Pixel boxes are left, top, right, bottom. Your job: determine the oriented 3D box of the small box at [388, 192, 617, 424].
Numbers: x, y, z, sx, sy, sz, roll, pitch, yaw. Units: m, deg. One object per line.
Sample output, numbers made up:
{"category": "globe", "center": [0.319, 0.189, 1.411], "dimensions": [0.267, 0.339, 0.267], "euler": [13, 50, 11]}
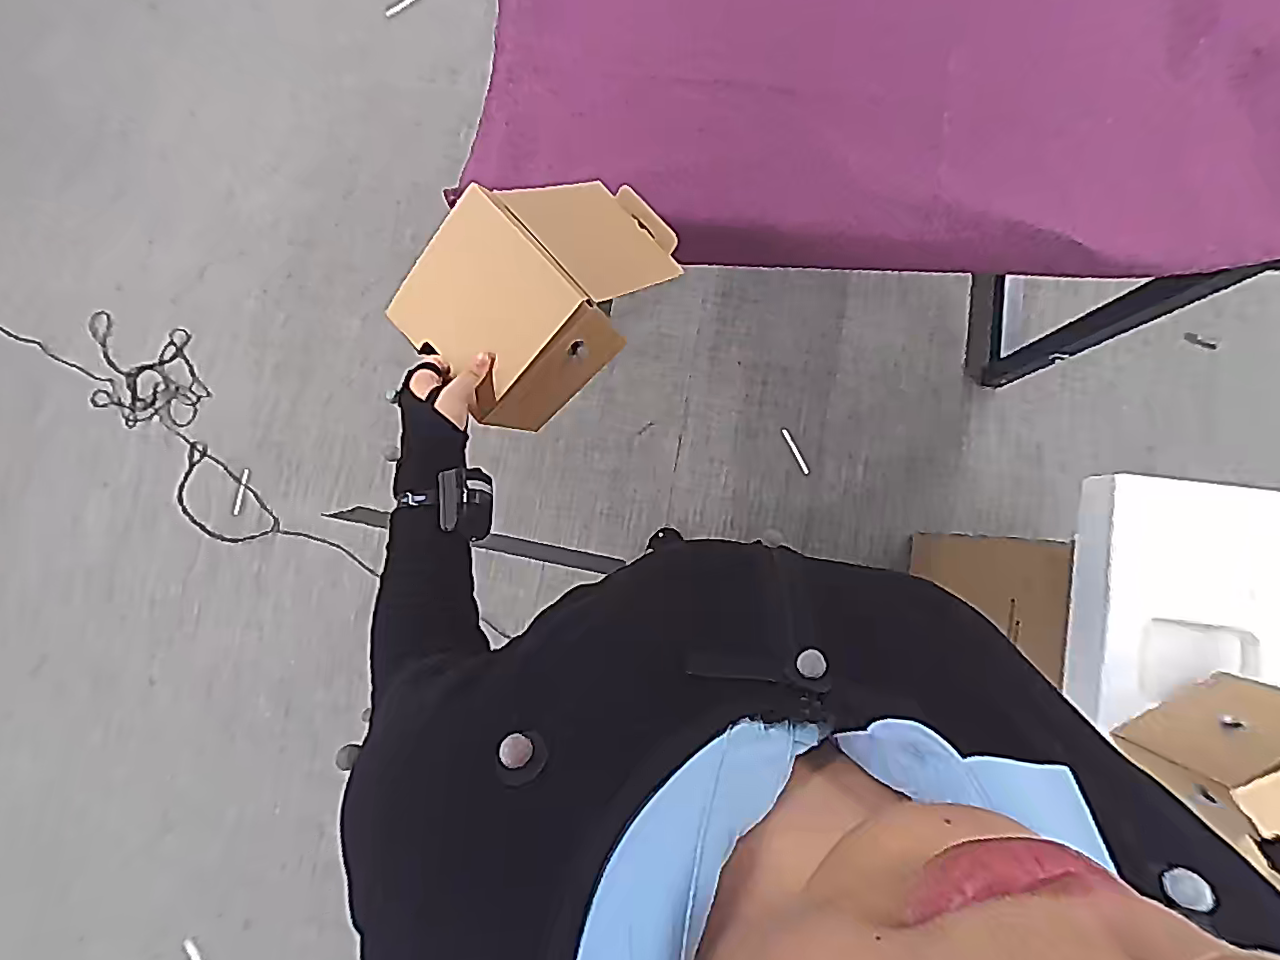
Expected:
{"category": "small box", "center": [-0.144, -0.185, 0.641], "dimensions": [0.179, 0.176, 0.168], "euler": [-43, 83, 9]}
